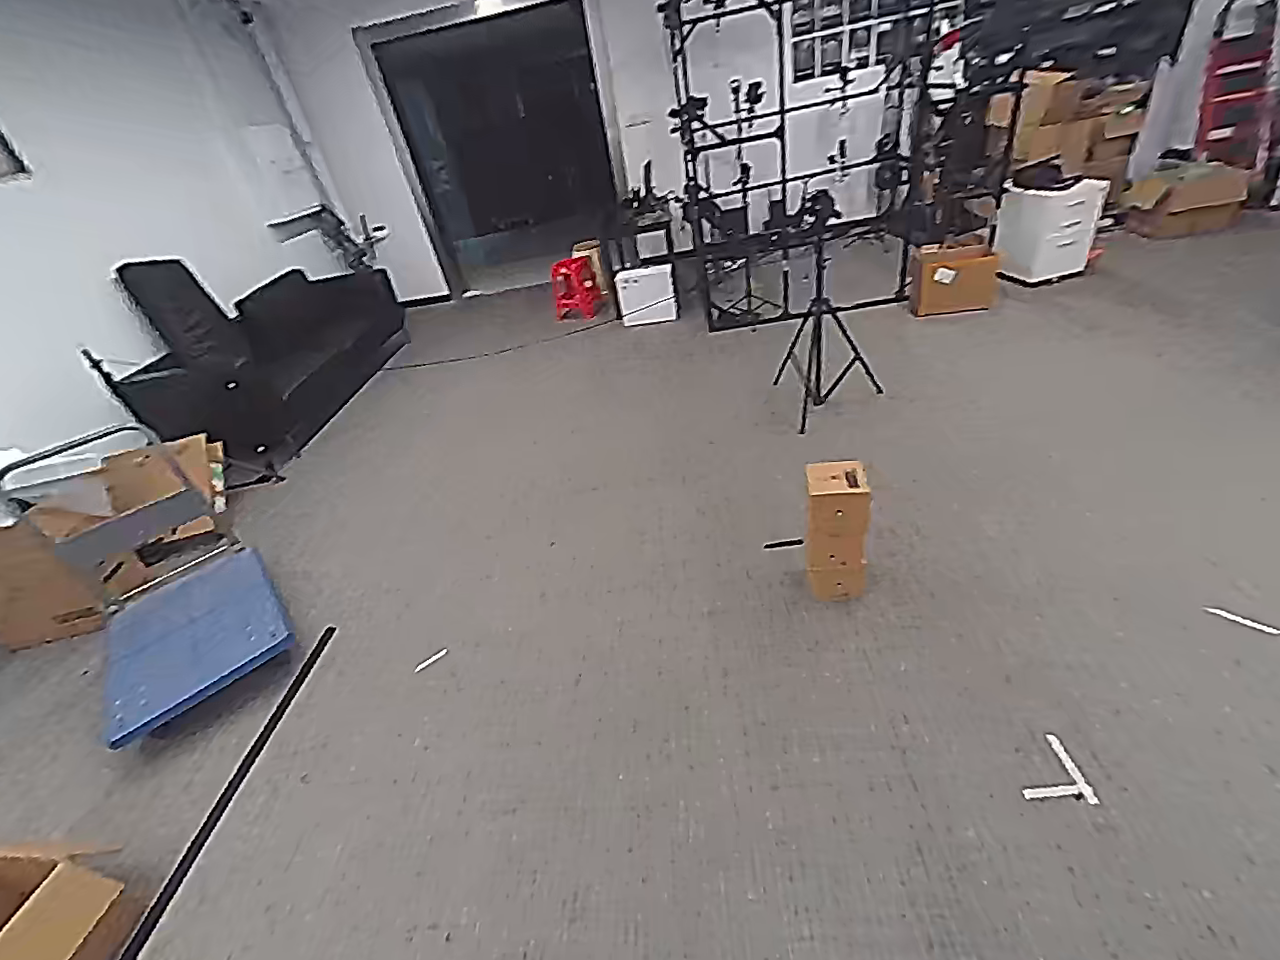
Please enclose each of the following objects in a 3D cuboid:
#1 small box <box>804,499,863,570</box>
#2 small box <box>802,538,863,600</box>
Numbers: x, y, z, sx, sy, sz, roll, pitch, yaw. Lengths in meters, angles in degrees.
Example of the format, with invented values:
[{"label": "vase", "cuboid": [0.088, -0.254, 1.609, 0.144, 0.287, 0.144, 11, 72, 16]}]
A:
[{"label": "small box", "cuboid": [0.652, 0.187, 1.842, 0.168, 0.176, 0.179, -5, 36, 11]}, {"label": "small box", "cuboid": [0.686, 0.315, 1.937, 0.168, 0.176, 0.179, -8, 34, 5]}]
